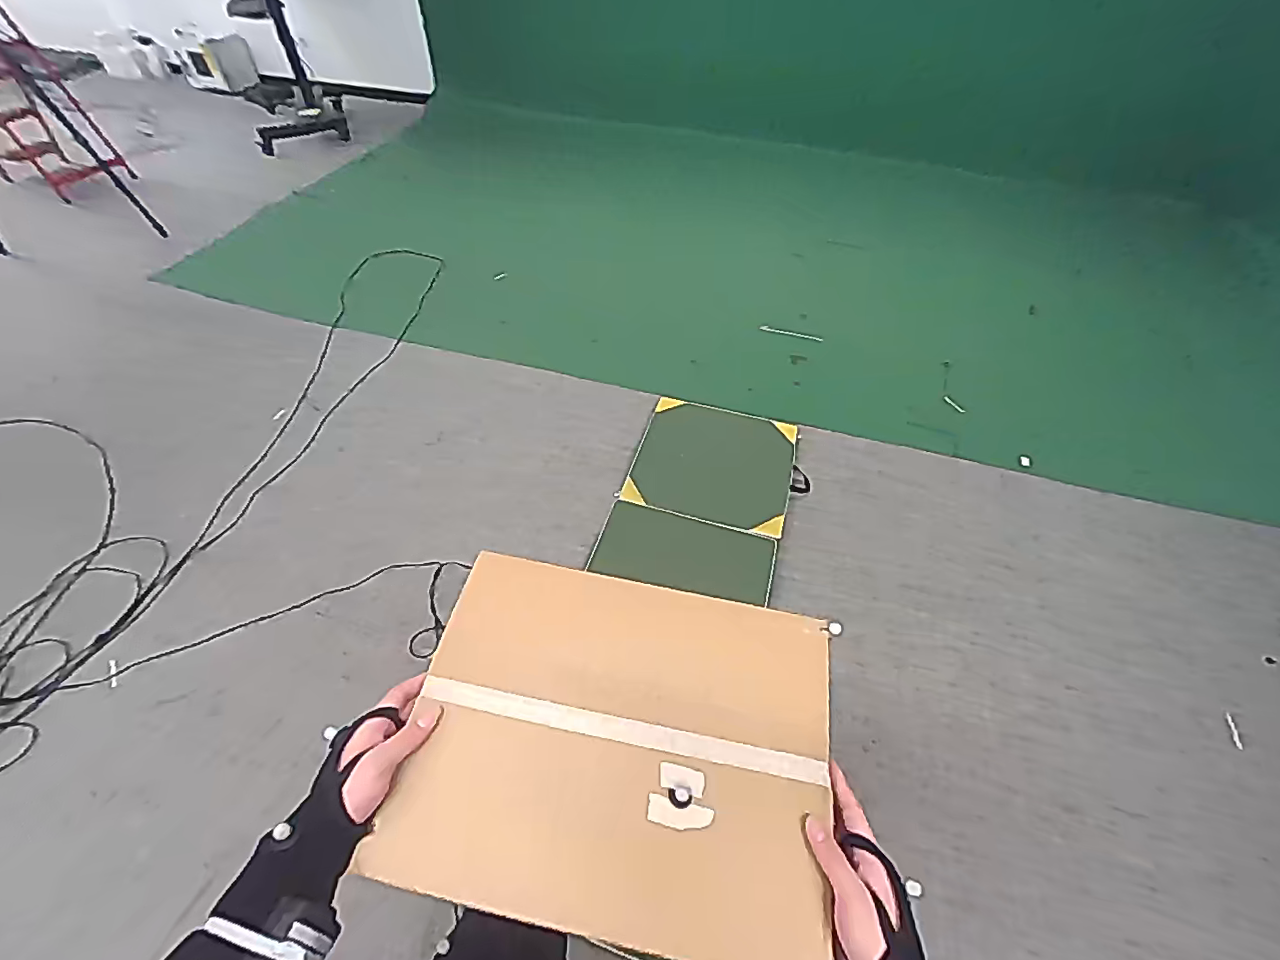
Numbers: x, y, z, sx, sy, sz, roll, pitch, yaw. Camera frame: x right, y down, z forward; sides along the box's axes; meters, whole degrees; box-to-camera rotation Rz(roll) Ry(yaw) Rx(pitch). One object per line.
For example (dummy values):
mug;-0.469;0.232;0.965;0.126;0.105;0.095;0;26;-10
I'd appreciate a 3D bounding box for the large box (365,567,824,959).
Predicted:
large box;-0.027;0.342;0.658;0.408;0.320;0.320;11;54;4
